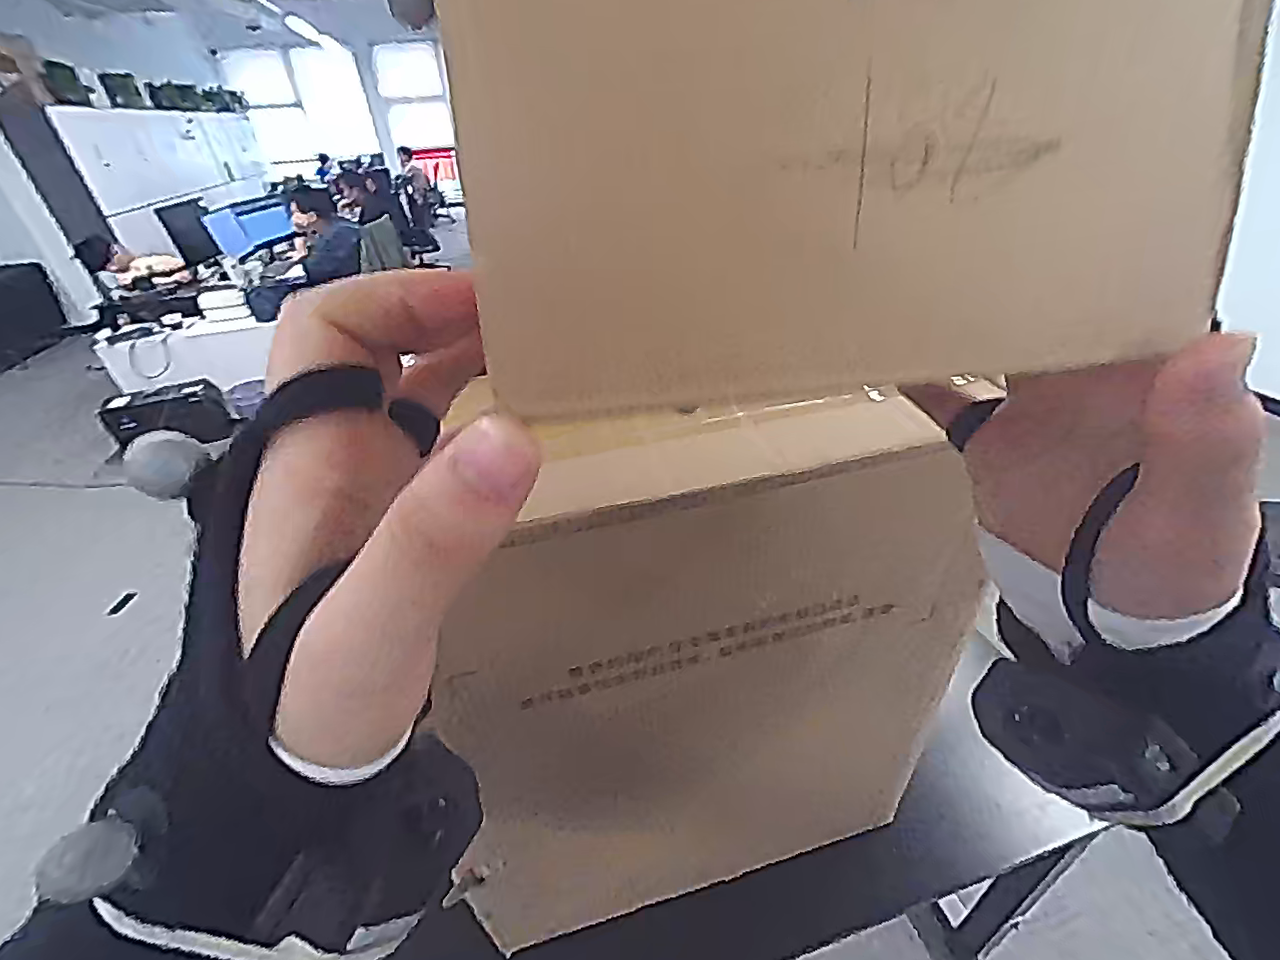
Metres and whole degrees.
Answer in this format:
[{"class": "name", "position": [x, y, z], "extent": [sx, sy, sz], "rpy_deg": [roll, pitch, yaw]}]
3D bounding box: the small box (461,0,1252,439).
[{"class": "small box", "position": [0.034, -0.117, 0.179], "extent": [0.168, 0.179, 0.176], "rpy_deg": [-7, 14, -8]}]
